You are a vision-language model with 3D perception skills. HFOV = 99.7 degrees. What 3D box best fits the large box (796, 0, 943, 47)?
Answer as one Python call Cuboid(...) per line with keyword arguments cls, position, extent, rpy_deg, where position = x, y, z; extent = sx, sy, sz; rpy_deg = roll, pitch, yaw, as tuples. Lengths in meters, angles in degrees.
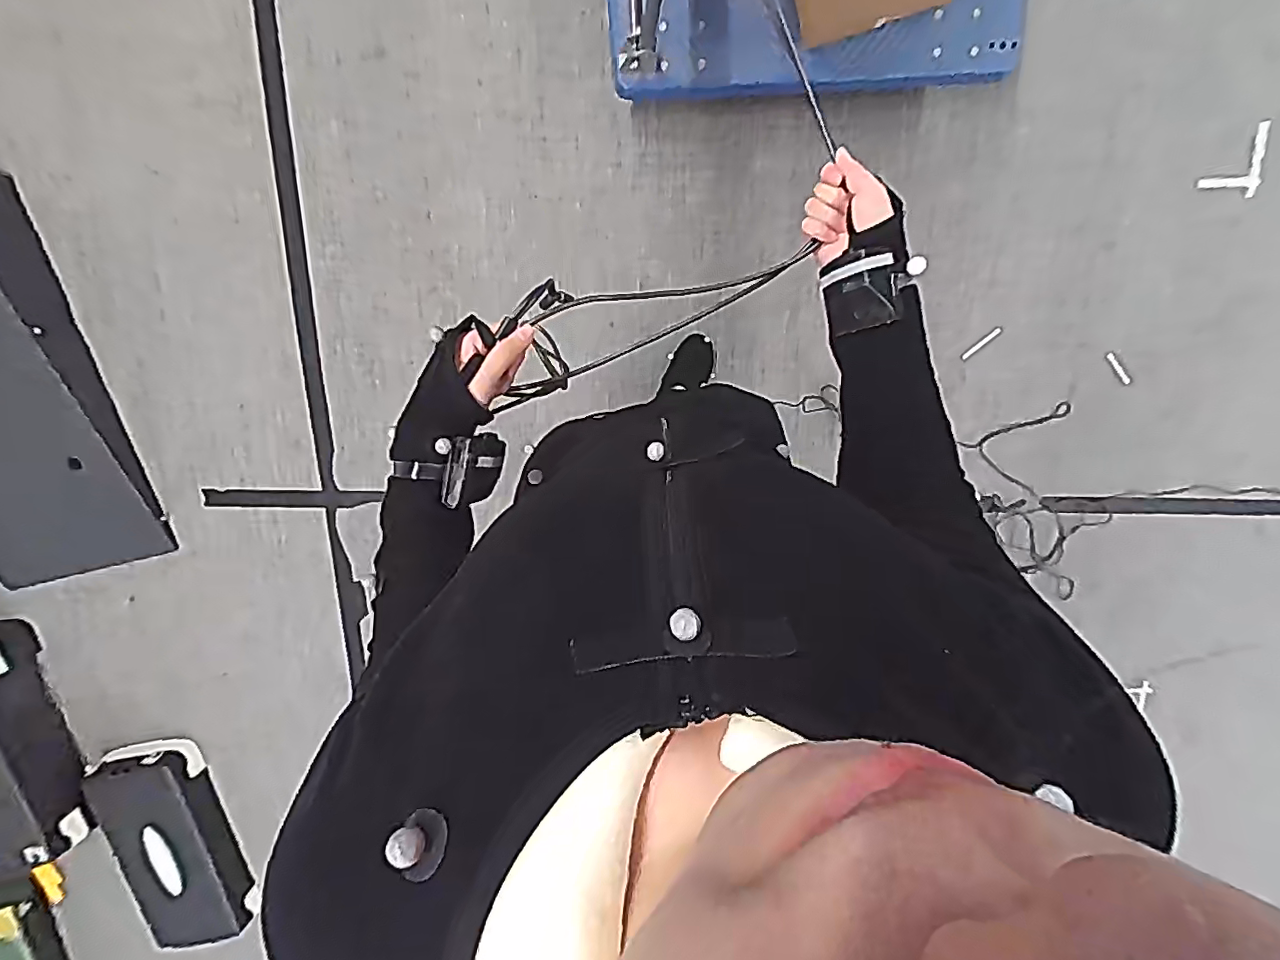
Cuboid(cls="large box", position=(0.435, -1.094, 0.936), extent=(0.320, 0.320, 0.408), rpy_deg=(-17, 104, 3))
